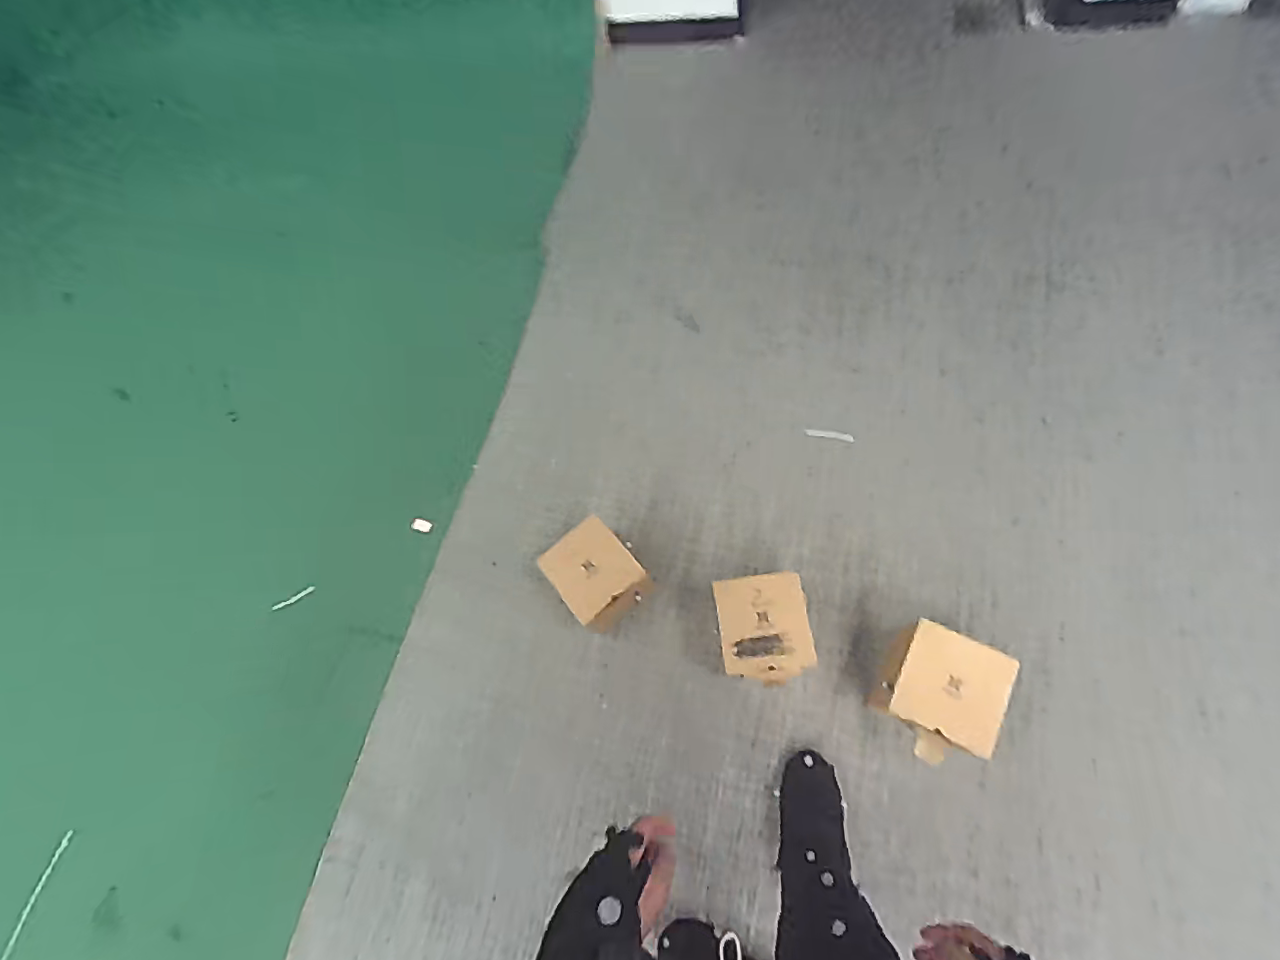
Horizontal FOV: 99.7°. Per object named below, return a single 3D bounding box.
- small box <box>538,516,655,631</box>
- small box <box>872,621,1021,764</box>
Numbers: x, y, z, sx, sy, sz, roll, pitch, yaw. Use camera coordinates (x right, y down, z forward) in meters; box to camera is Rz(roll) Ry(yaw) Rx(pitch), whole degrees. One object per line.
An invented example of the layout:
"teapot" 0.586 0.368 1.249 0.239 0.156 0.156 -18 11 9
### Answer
"small box" -0.086 0.211 1.174 0.168 0.176 0.179 -40 66 -7
"small box" 0.547 0.382 0.989 0.168 0.176 0.179 24 75 18
